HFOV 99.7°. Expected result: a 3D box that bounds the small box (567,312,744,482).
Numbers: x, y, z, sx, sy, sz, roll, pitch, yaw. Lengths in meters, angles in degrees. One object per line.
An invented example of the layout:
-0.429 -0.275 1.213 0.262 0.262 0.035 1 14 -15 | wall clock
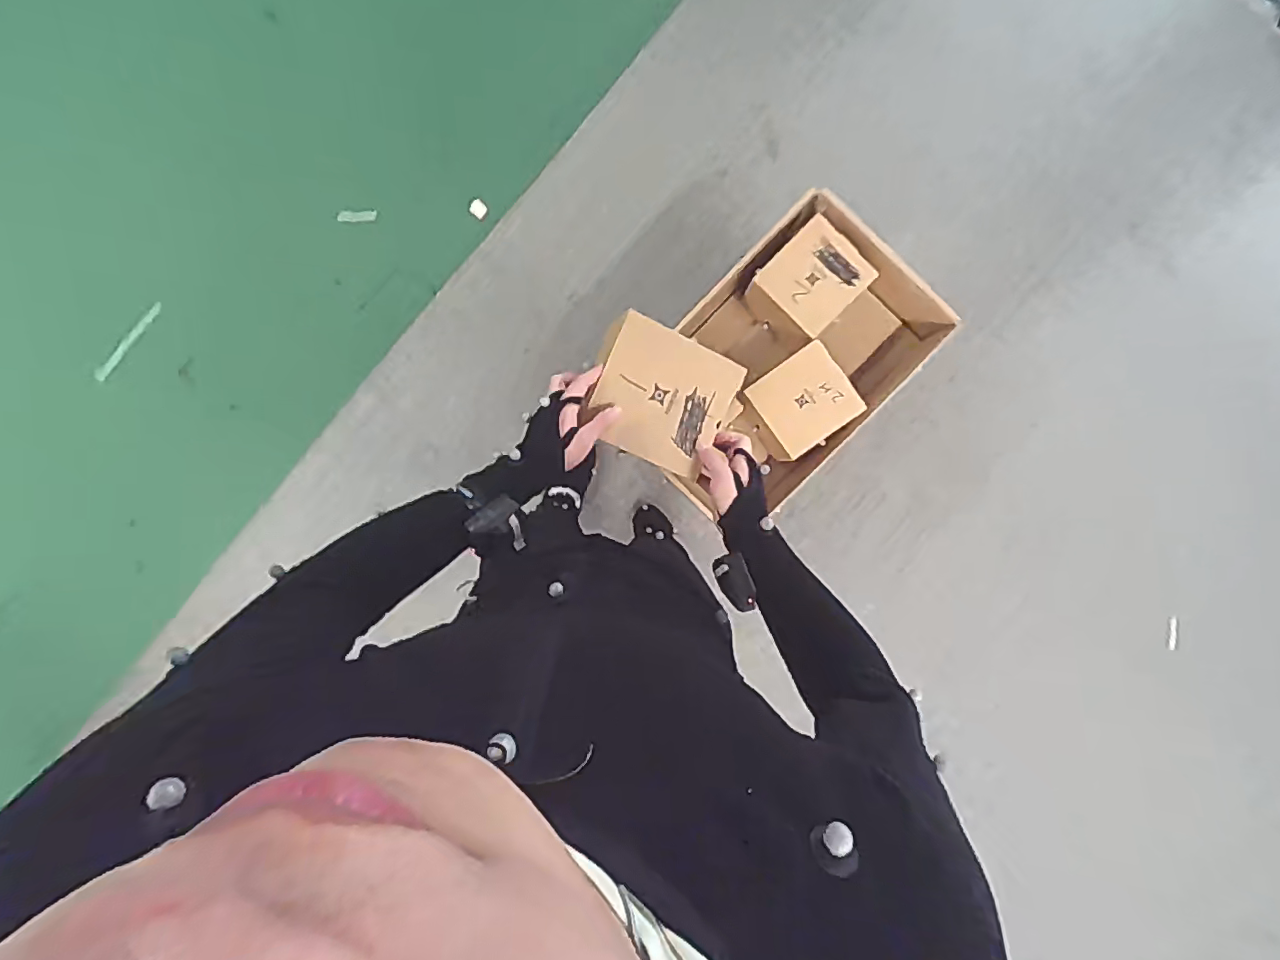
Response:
0.011 -0.115 0.762 0.179 0.176 0.168 23 94 -15 | small box
